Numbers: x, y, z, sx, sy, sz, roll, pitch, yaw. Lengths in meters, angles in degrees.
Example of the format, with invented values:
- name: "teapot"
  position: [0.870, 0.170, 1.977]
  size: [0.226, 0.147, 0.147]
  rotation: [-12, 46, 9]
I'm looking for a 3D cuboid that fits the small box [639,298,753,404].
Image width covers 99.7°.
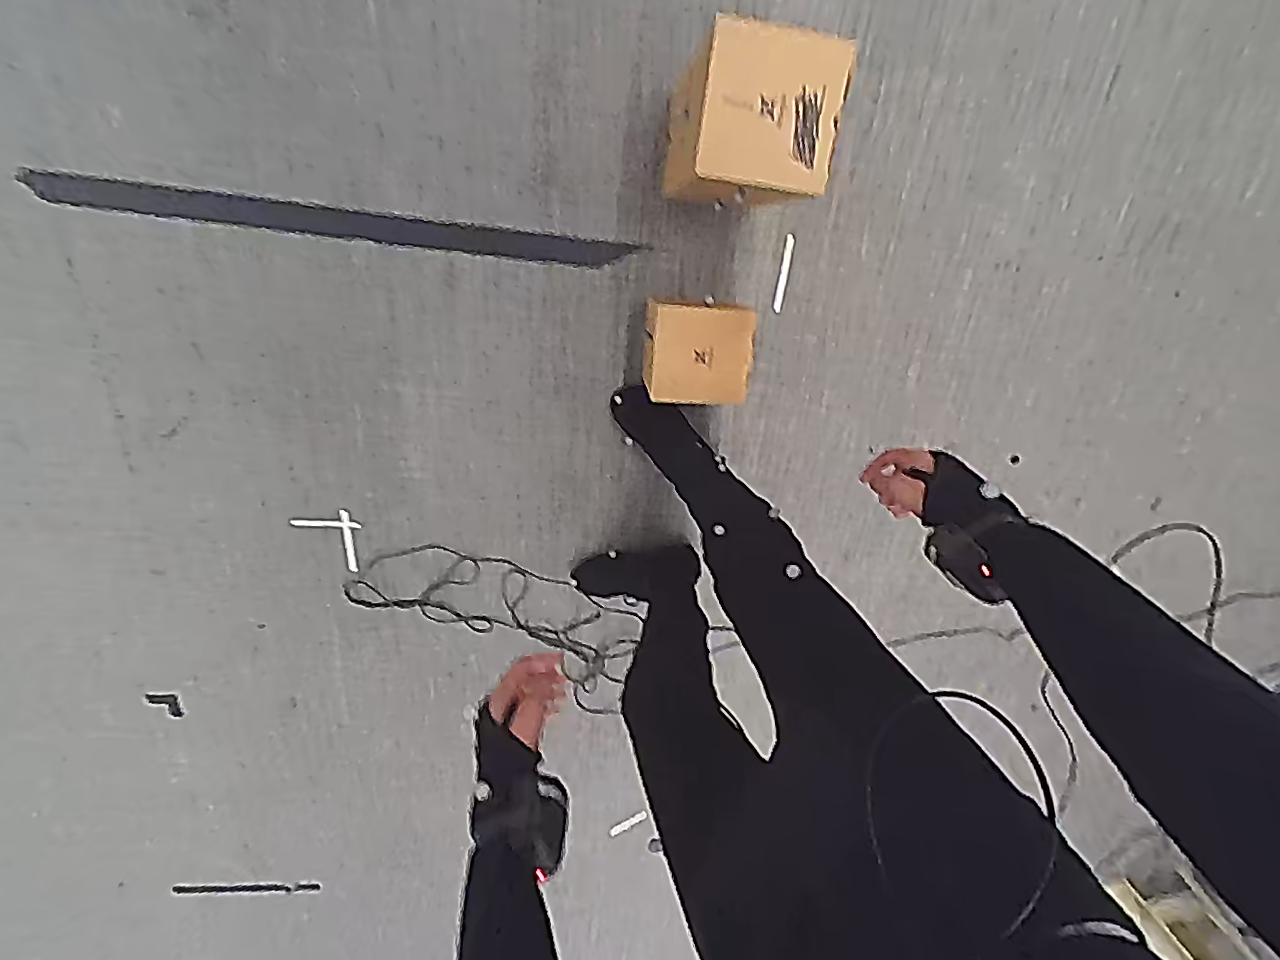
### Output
- name: "small box"
  position: [0.095, -0.246, 1.017]
  size: [0.179, 0.176, 0.168]
  rotation: [1, 114, -7]

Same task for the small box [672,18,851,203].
- name: "small box"
  position: [0.151, -0.483, 0.737]
  size: [0.179, 0.176, 0.168]
  rotation: [5, 112, -8]
